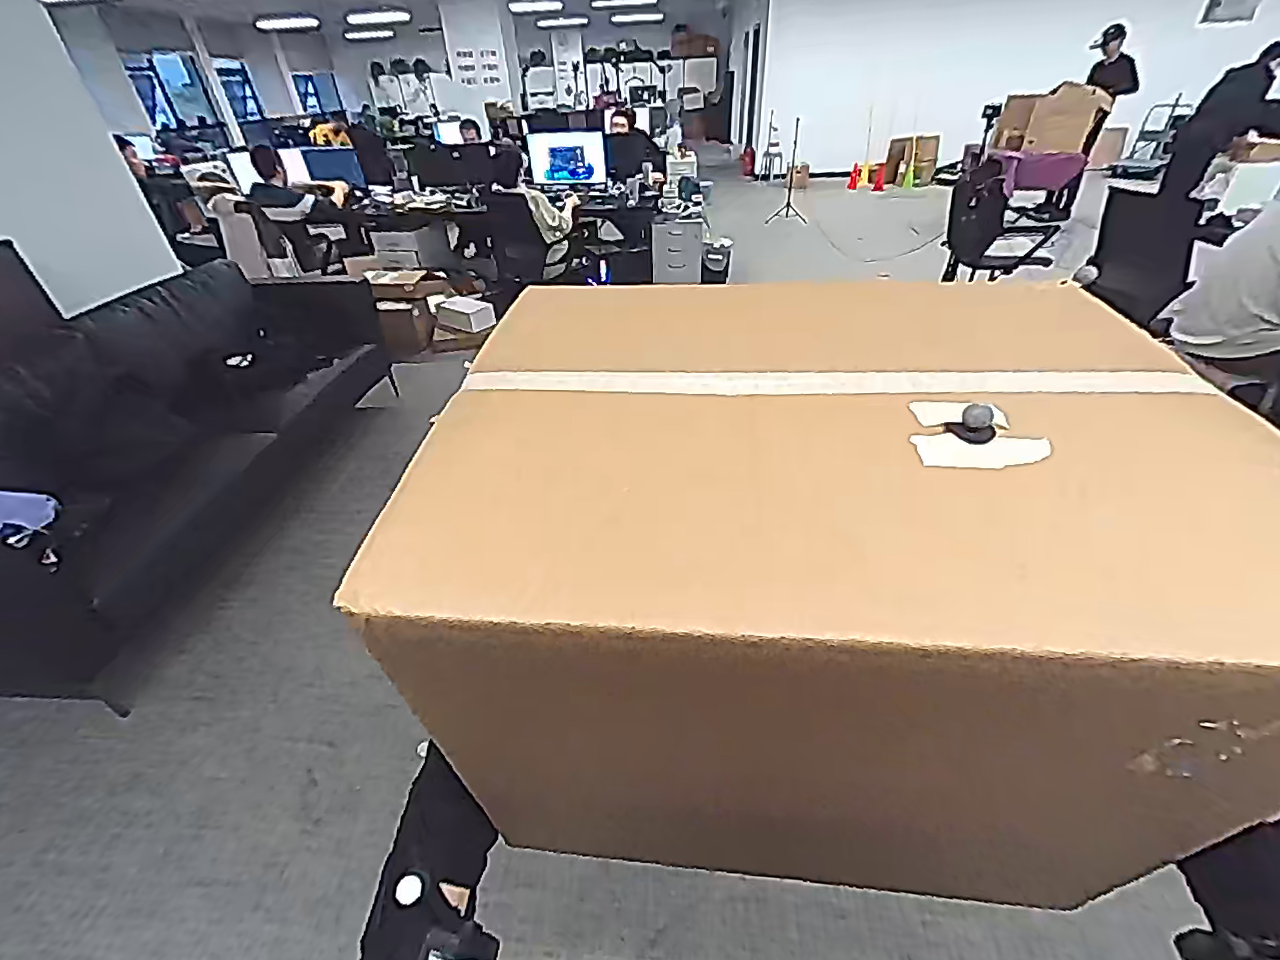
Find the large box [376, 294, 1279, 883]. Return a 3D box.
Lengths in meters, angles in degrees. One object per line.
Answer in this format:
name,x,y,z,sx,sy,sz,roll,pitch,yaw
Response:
large box,0.104,0.066,0.411,0.408,0.320,0.320,2,43,6
